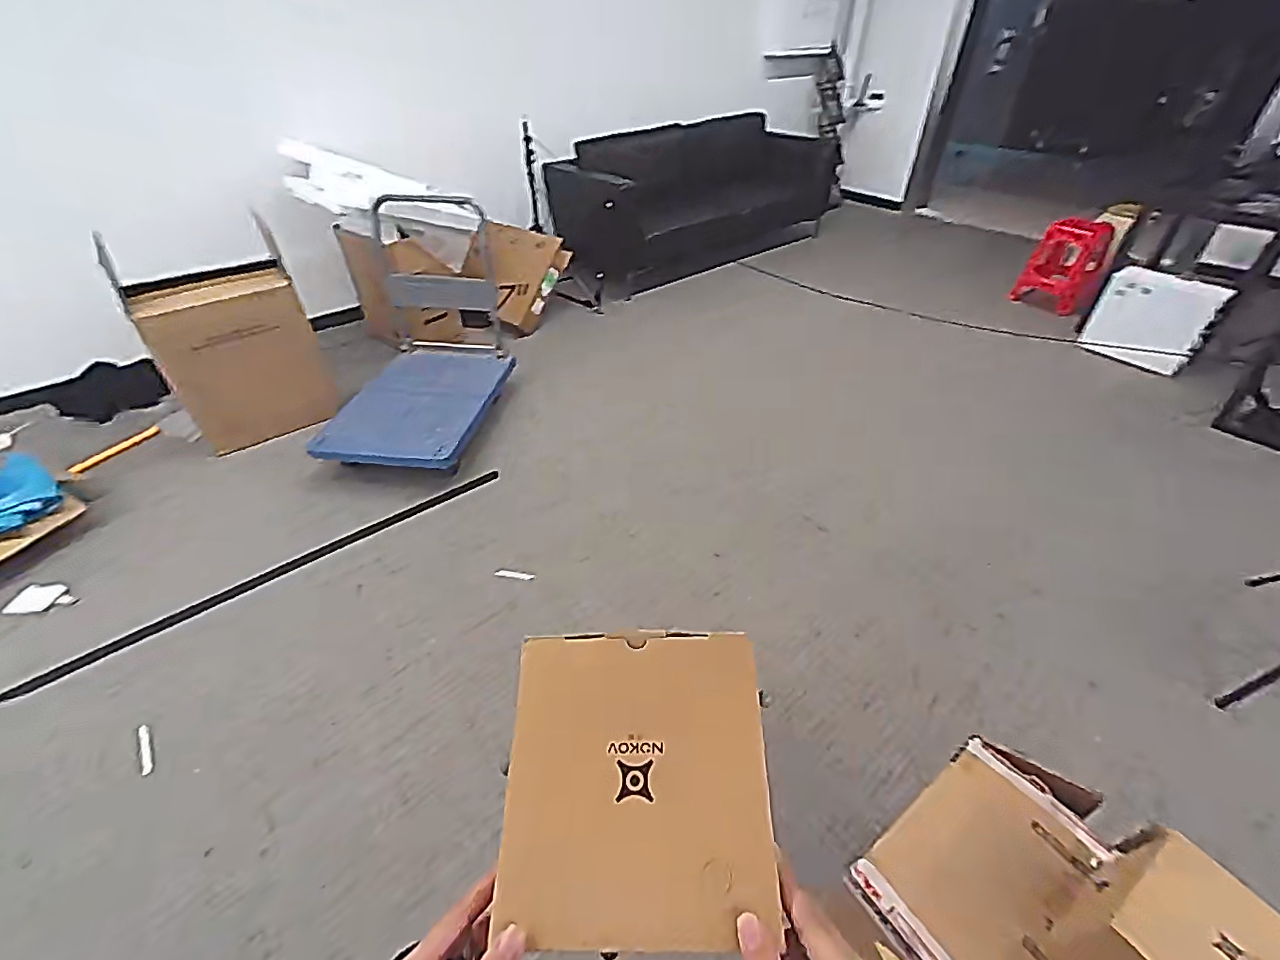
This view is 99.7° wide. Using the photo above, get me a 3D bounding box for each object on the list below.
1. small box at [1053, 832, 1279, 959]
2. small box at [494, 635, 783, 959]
[{"bbox_3d":[0.631,0.559,0.618,0.168,0.176,0.179,-24,47,-23],"label":"small box"},{"bbox_3d":[0.004,0.229,0.408,0.168,0.176,0.179,-3,57,3],"label":"small box"}]
